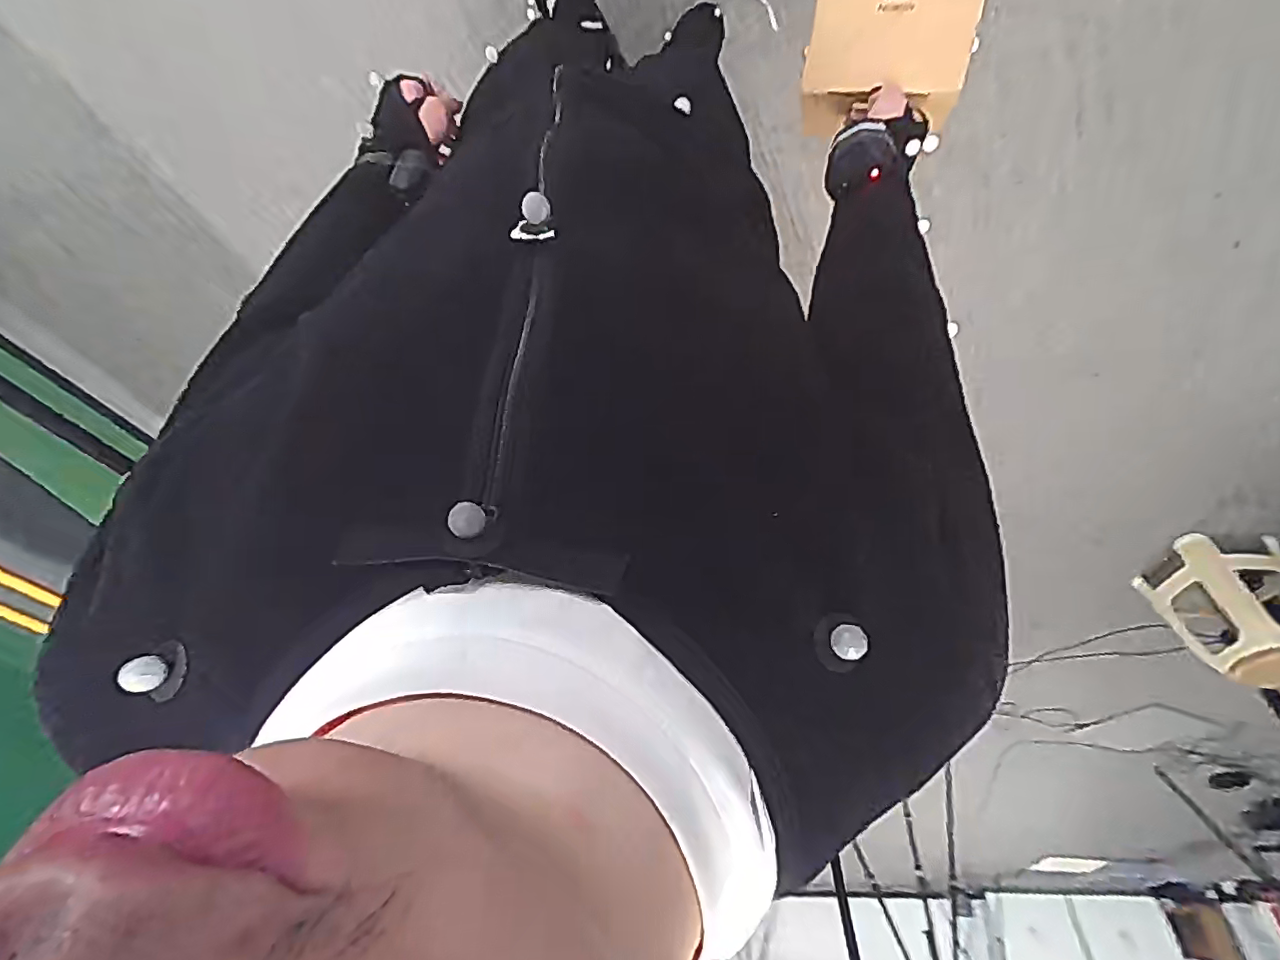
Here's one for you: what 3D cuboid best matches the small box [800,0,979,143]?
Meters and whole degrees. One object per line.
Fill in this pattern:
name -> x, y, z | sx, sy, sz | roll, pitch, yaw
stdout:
small box -> 0.291, -0.514, 0.636 | 0.168, 0.176, 0.179 | 9, 108, 18
